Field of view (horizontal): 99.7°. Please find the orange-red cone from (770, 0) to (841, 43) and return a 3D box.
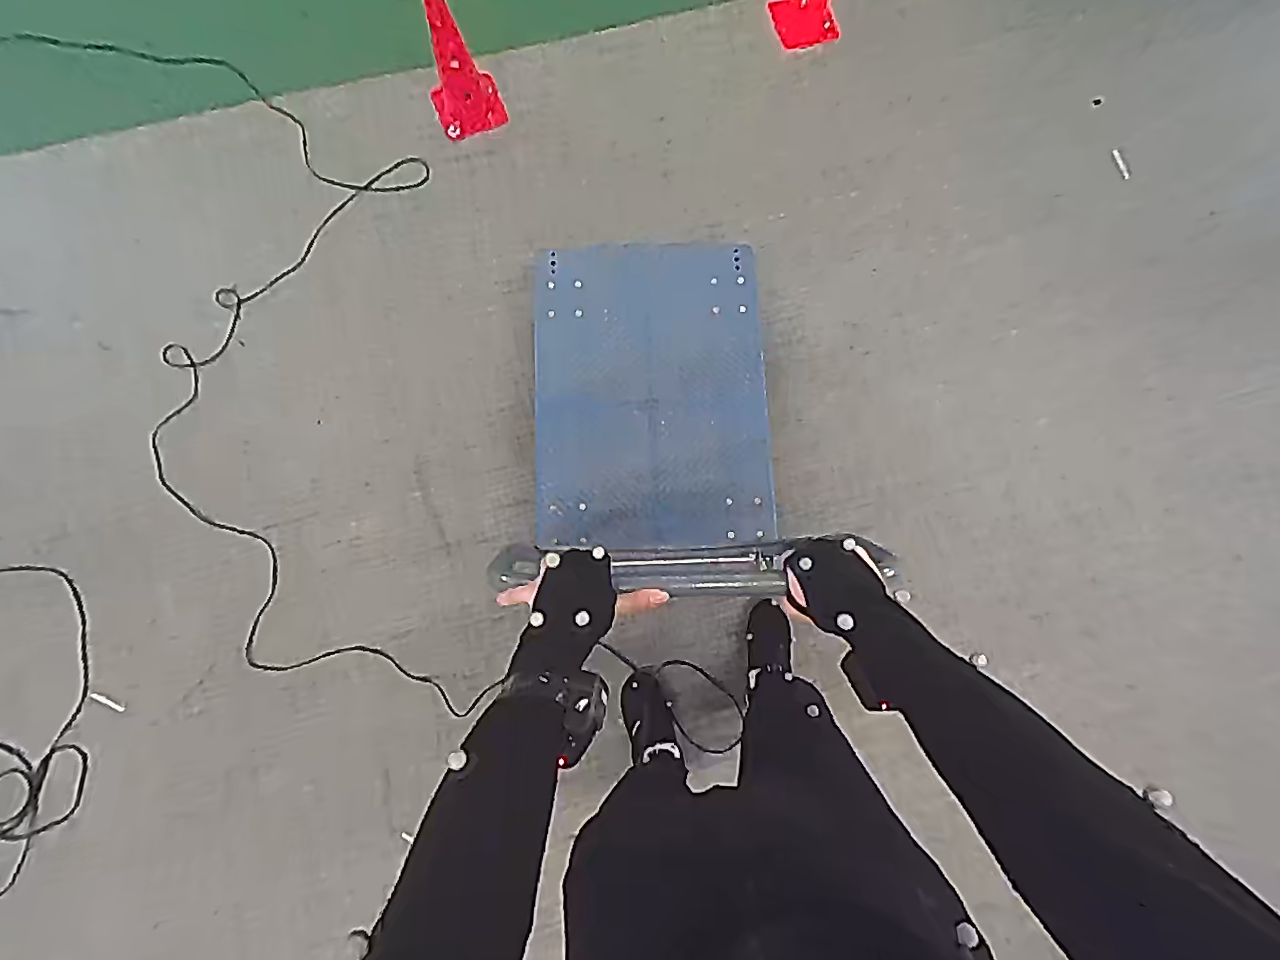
[{"bbox_3d":[0.539,-1.539,1.581,0.198,0.360,0.199,-14,78,-4],"label":"orange-red cone"}]
